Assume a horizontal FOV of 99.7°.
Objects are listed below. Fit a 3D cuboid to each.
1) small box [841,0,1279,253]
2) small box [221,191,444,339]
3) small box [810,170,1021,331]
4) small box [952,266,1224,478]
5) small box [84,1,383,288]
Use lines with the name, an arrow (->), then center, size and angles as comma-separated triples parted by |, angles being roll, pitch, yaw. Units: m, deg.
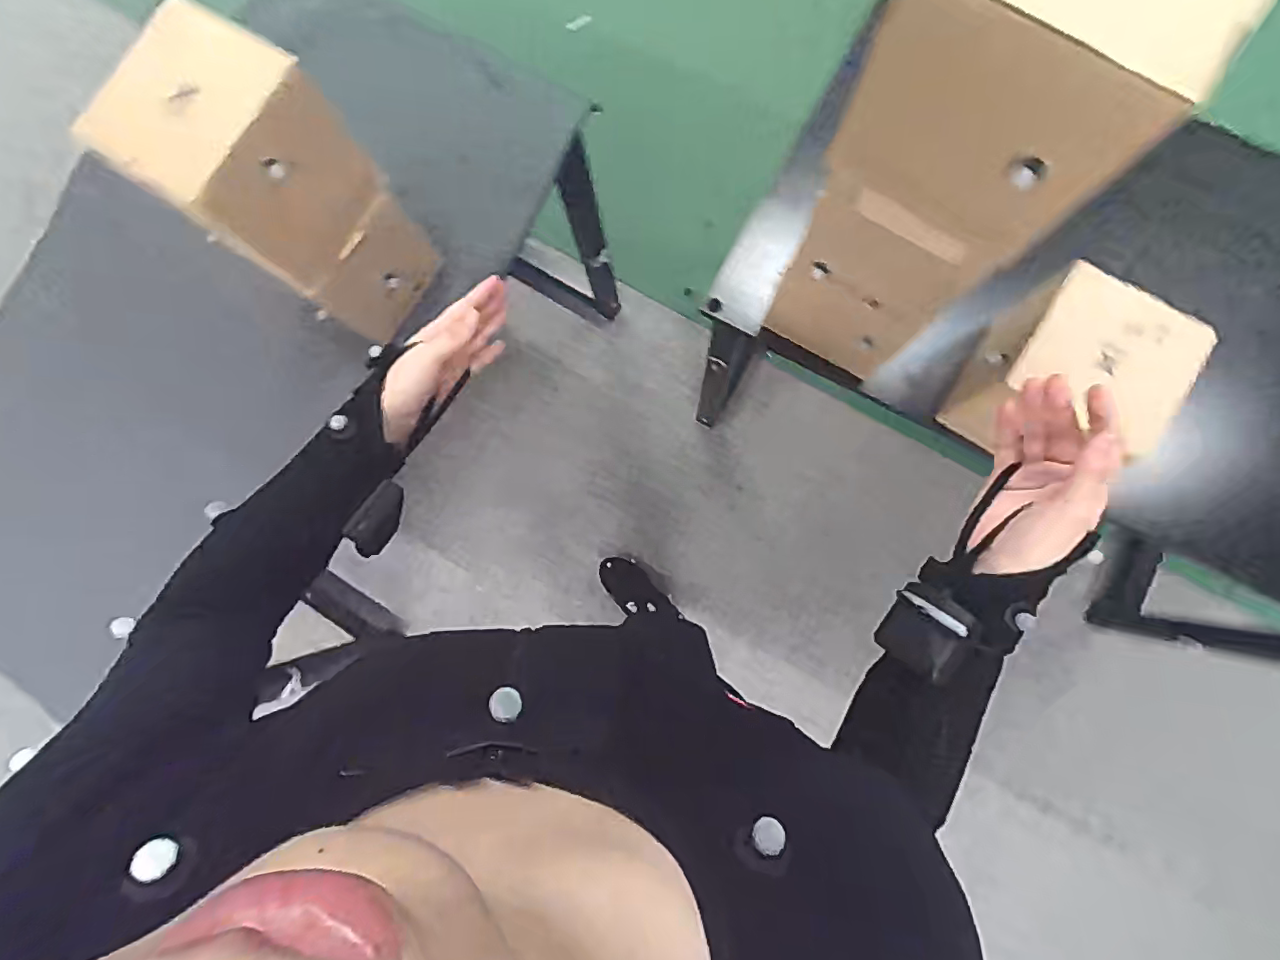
small box -> 0.279, -0.295, 0.382 | 0.179, 0.176, 0.168 | 33, 84, 7
small box -> -0.414, -0.323, 0.761 | 0.179, 0.176, 0.168 | 33, 87, 8
small box -> 0.292, -0.282, 0.544 | 0.168, 0.176, 0.179 | 33, 85, 6
small box -> 0.530, -0.118, 0.674 | 0.168, 0.176, 0.179 | 33, 86, 6
small box -> -0.424, -0.354, 0.601 | 0.168, 0.176, 0.179 | 31, 87, 9
